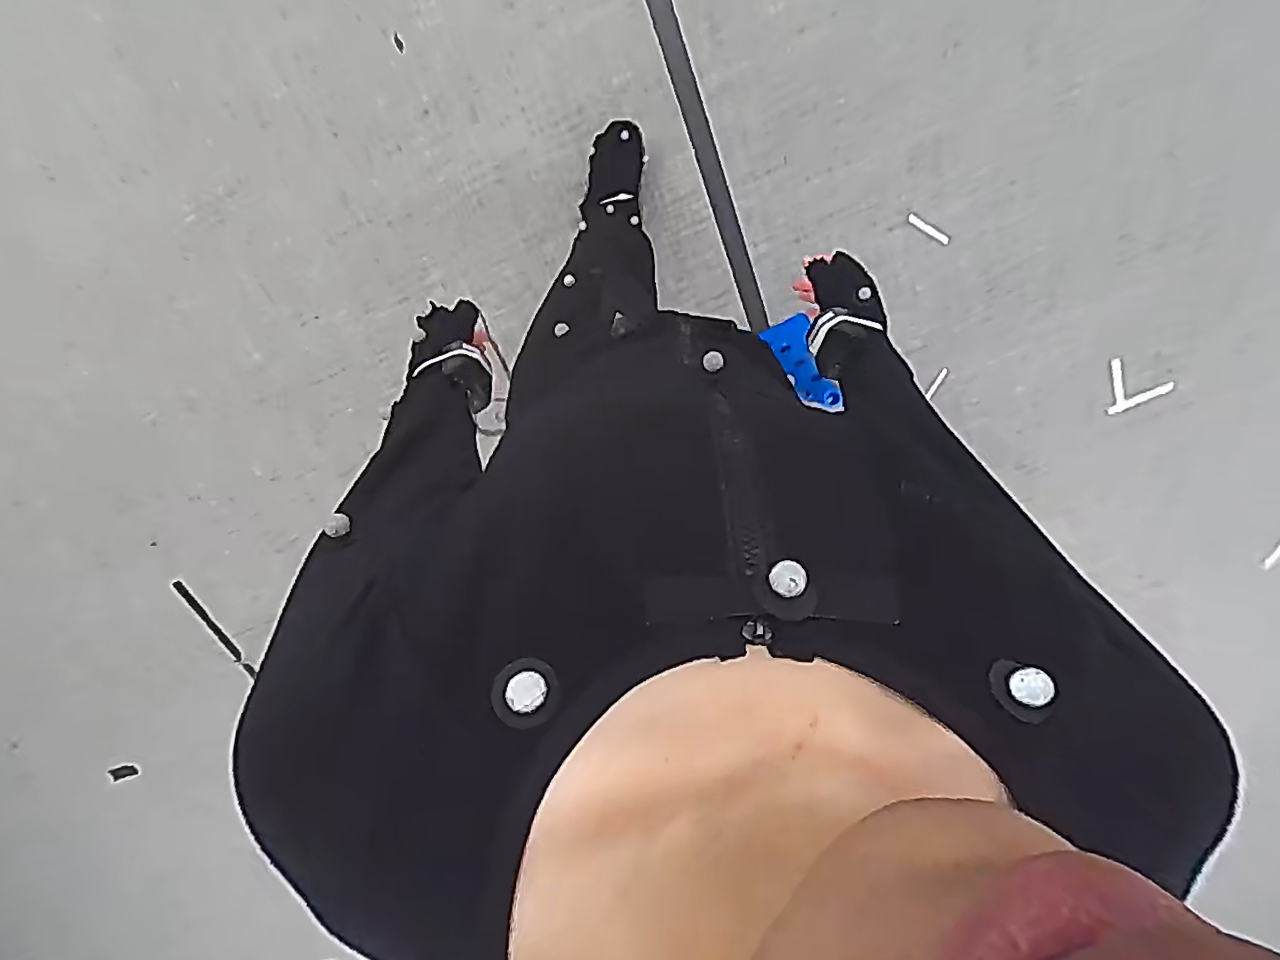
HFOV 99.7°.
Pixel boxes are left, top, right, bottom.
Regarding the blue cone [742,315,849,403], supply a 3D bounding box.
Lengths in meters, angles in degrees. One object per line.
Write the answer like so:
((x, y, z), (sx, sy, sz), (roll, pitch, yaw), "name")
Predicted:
((0.382, -0.247, 1.255), (0.192, 0.380, 0.193), (-26, 112, 7), "blue cone")
